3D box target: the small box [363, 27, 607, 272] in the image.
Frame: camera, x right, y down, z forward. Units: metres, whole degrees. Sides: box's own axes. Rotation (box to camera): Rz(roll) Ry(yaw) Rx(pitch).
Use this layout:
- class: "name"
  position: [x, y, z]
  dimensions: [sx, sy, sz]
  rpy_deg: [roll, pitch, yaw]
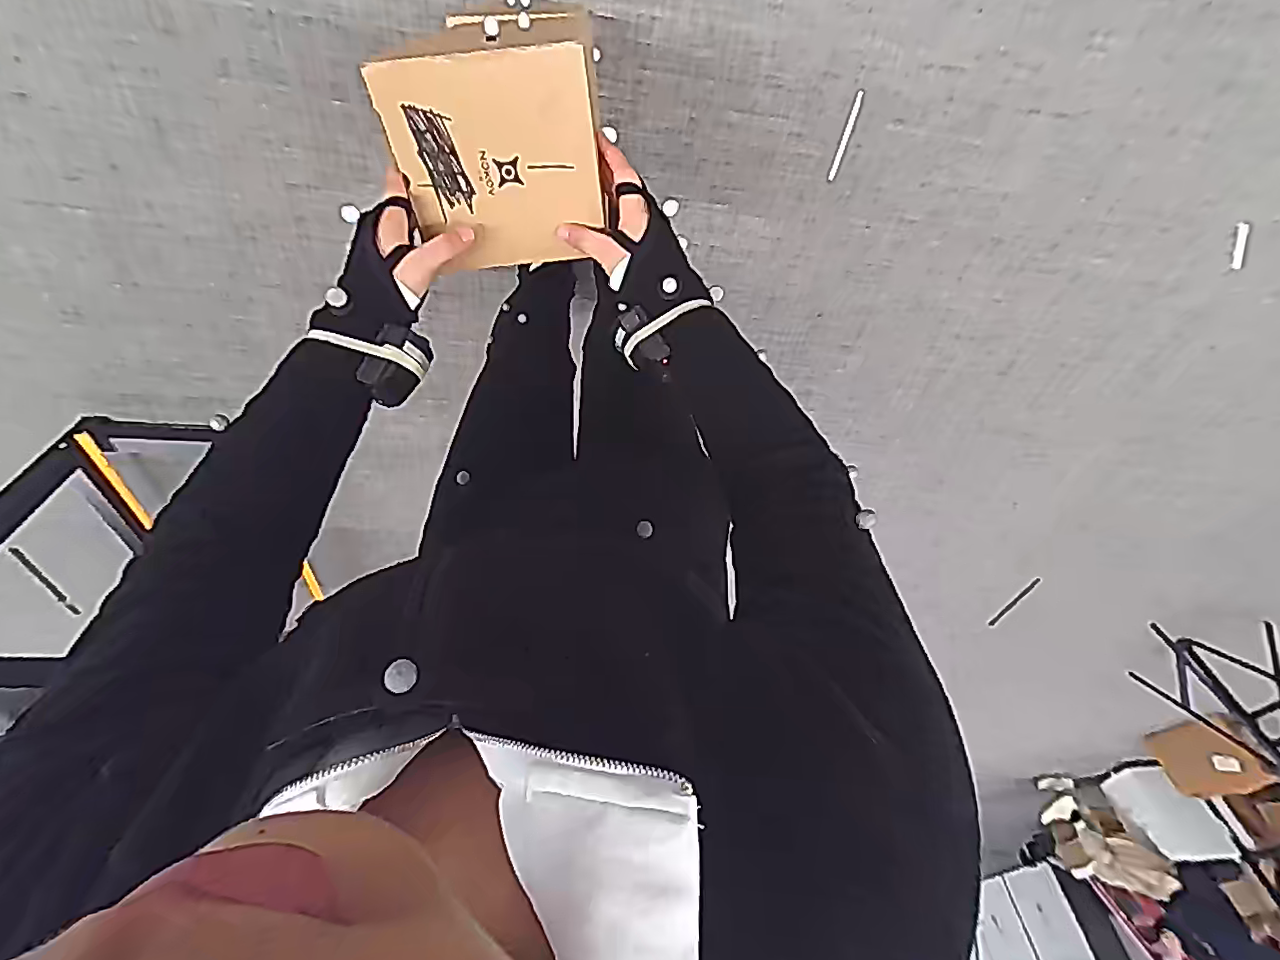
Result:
- class: "small box"
  position: [-0.127, -0.322, 0.526]
  dimensions: [0.179, 0.176, 0.168]
  rpy_deg: [-5, 135, 1]

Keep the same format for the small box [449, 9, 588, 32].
- class: "small box"
  position: [-0.153, -0.548, 0.764]
  dimensions: [0.168, 0.176, 0.179]
  rpy_deg: [-2, 135, -1]
